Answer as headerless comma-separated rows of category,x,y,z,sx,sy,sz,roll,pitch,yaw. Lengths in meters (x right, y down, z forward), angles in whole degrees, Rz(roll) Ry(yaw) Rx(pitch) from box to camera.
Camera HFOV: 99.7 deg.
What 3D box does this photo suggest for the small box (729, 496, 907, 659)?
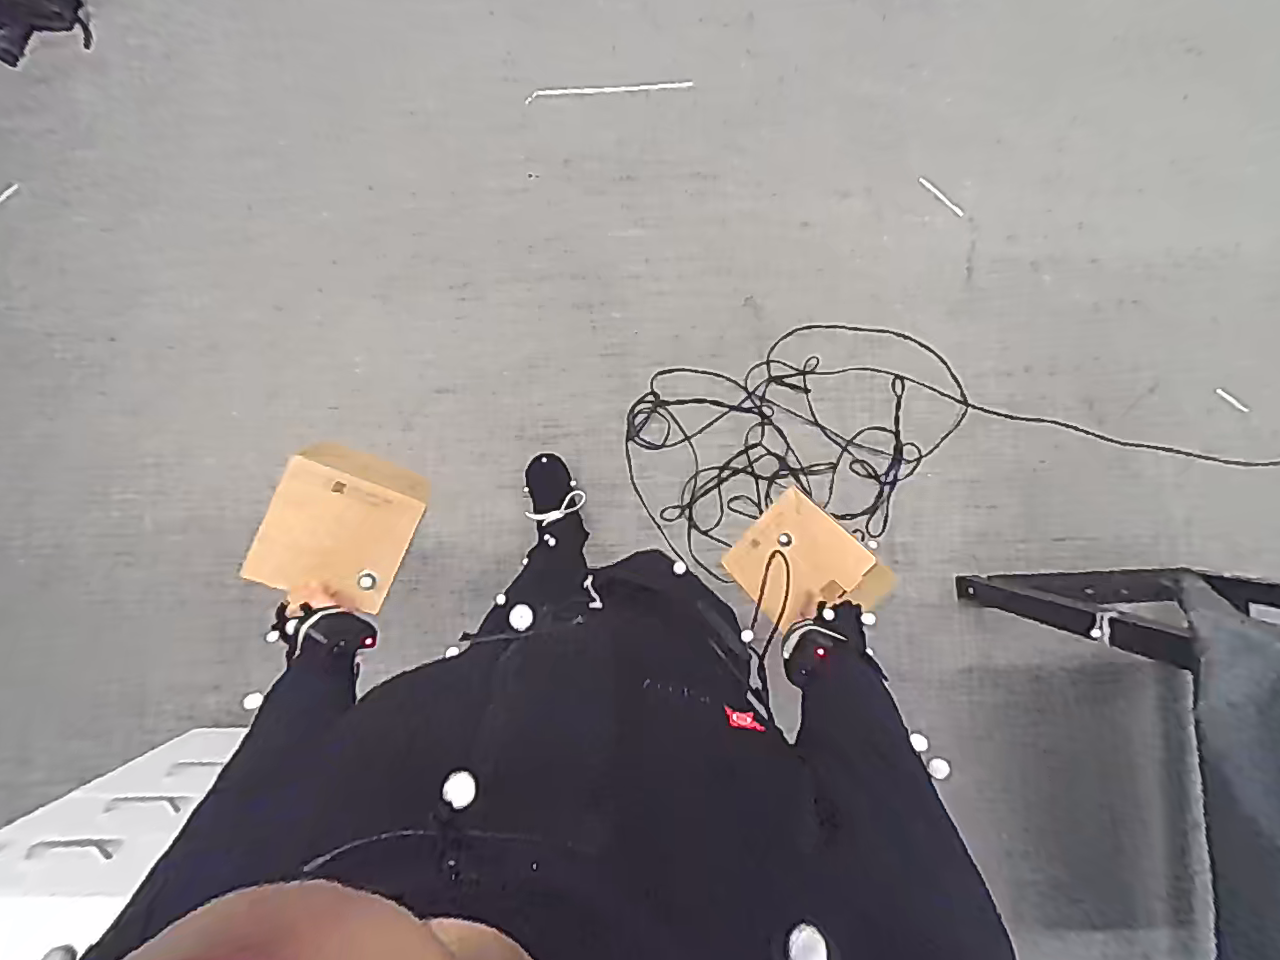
small box,0.272,0.150,0.837,0.168,0.179,0.176,-48,49,10
